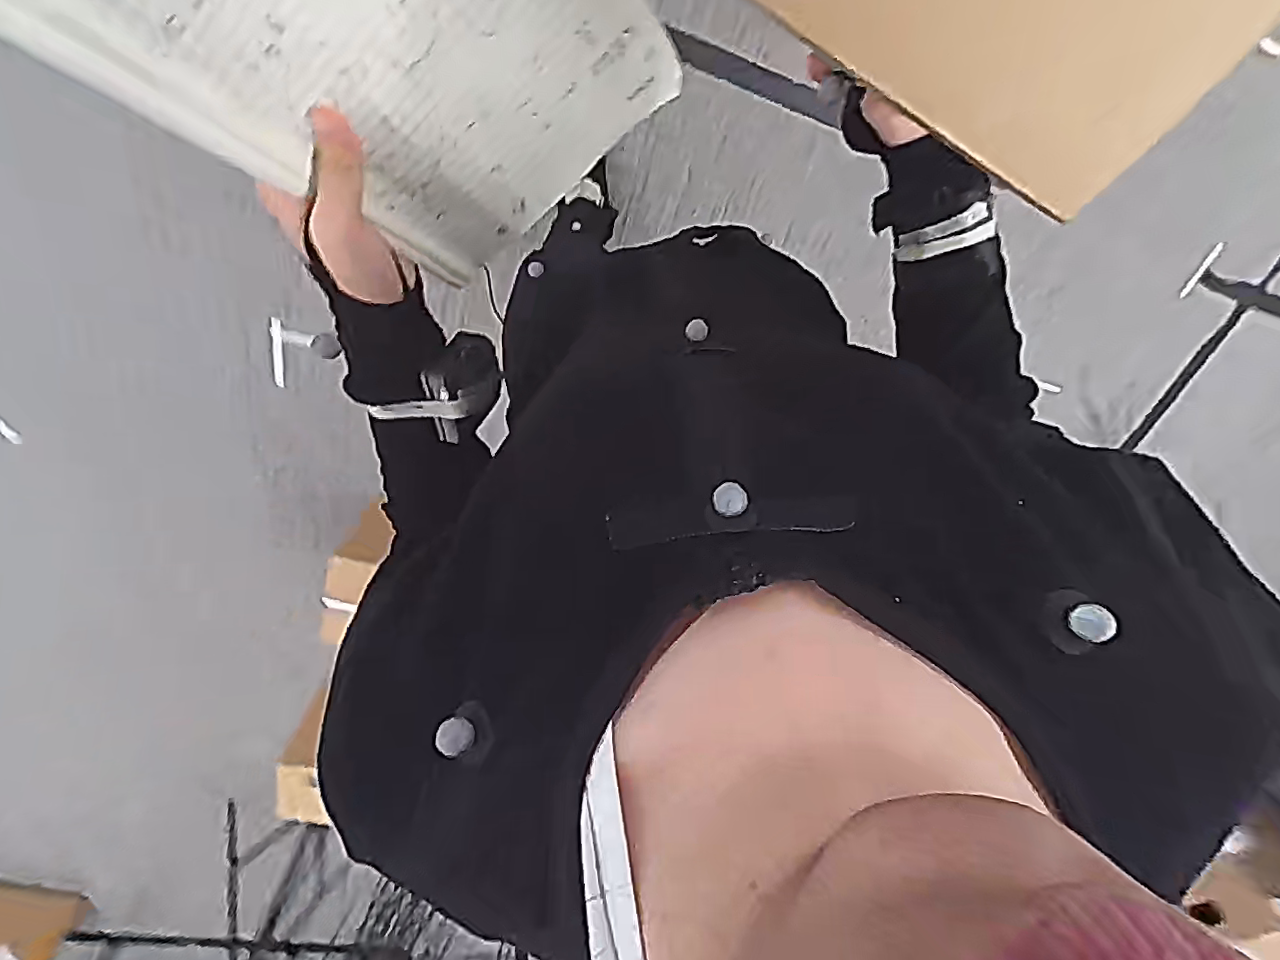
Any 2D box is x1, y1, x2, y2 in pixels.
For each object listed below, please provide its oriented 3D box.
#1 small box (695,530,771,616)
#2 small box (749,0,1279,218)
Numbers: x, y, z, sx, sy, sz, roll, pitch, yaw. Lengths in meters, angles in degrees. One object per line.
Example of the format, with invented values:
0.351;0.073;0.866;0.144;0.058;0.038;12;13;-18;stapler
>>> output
0.291;0.290;1.708;0.168;0.176;0.179;-29;116;13;small box
0.137;-0.241;0.193;0.168;0.176;0.179;16;133;-22;small box
